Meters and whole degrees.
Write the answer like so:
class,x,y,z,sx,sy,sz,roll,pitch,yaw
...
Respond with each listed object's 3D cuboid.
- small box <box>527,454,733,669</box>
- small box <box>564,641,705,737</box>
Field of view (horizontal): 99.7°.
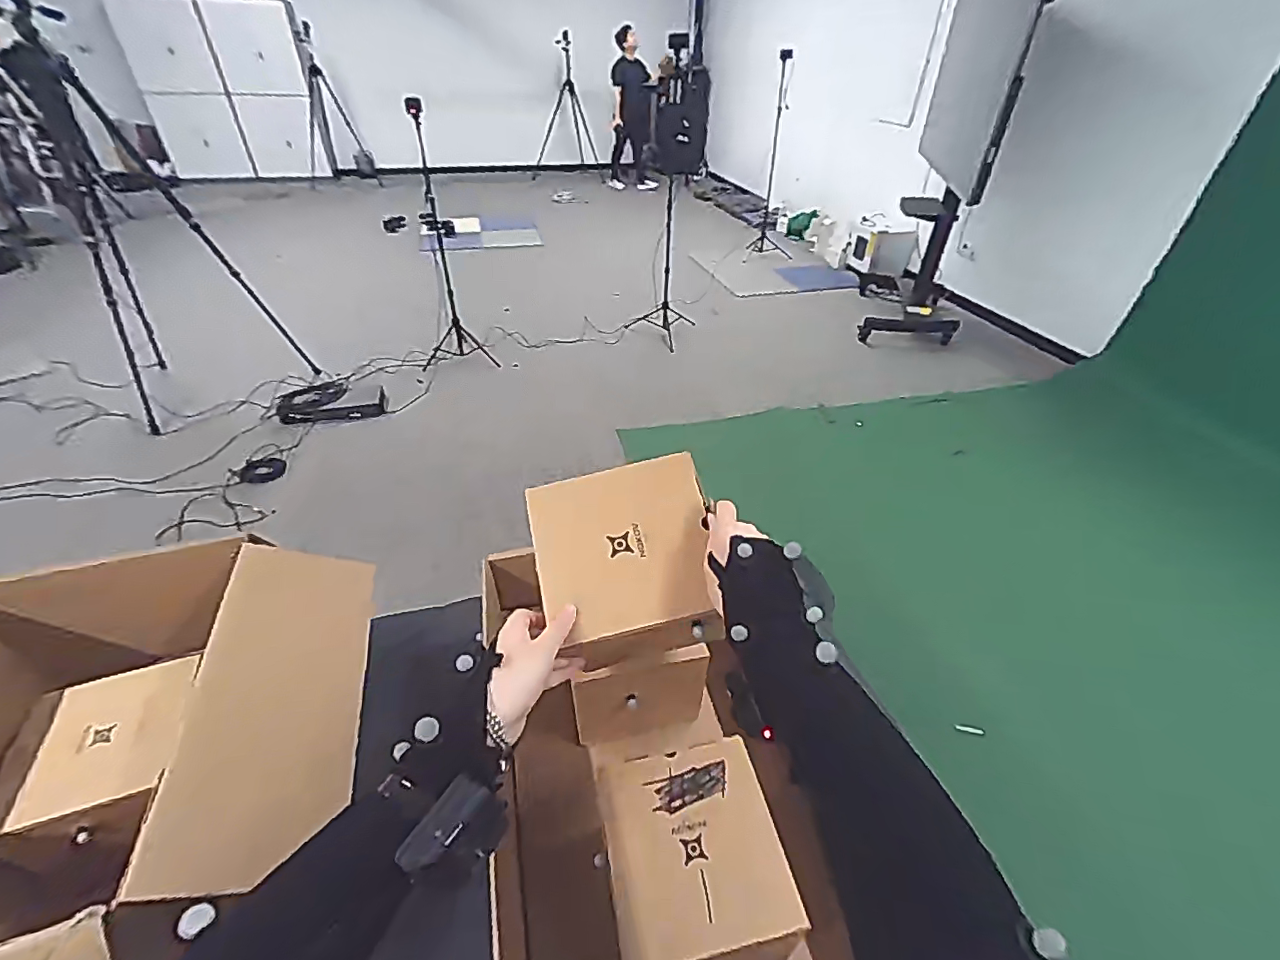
class,x,y,z,sx,sy,sz,roll,pitch,yaw
small box,-0.010,0.098,0.595,0.179,0.176,0.168,-14,64,-4
small box,-0.017,0.243,0.779,0.179,0.176,0.168,-9,42,-10
